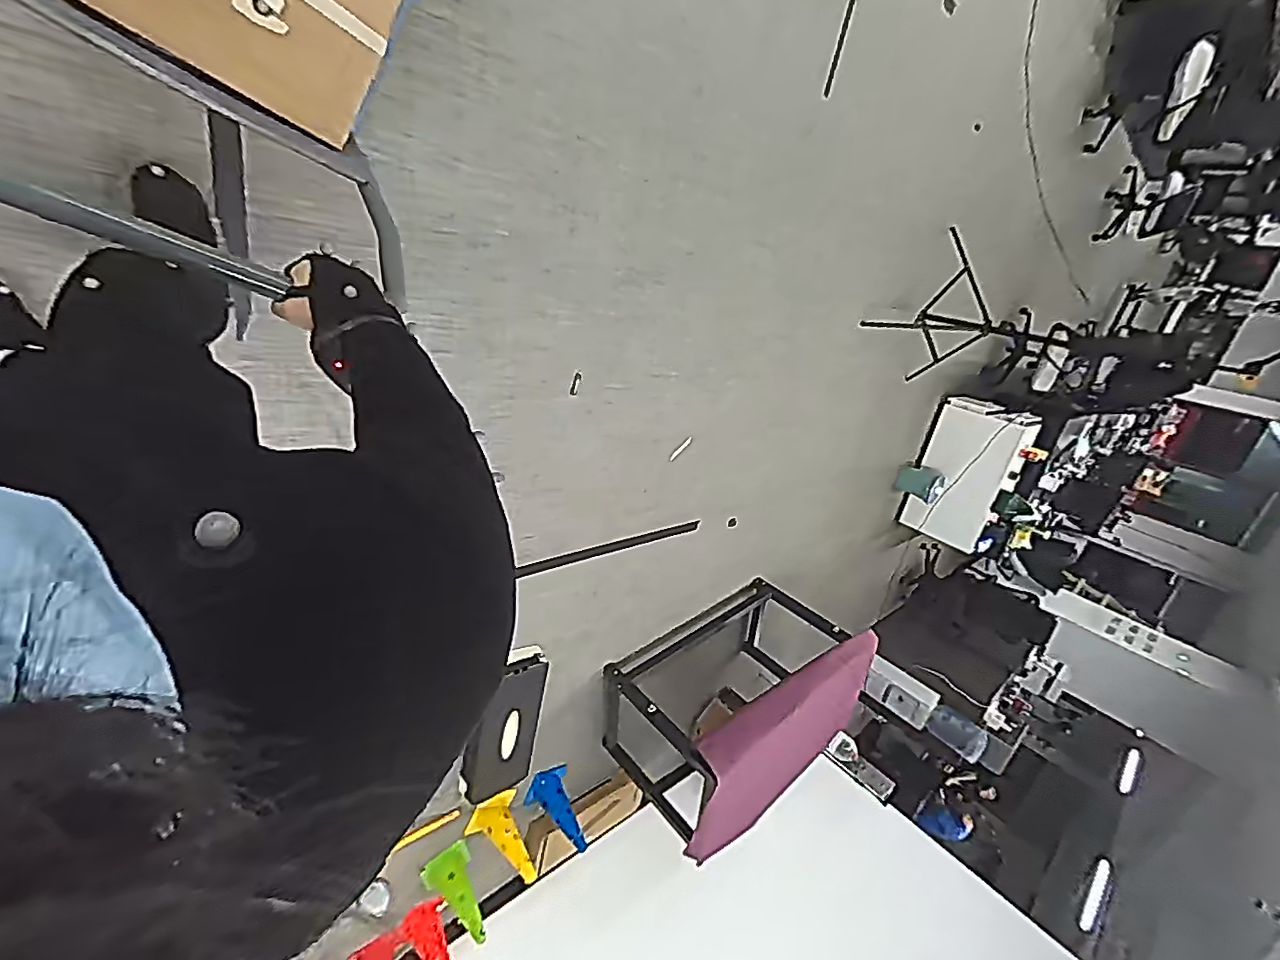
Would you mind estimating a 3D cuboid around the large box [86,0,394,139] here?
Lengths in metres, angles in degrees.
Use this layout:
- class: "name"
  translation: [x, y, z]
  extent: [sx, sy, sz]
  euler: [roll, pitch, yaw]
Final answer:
- class: "large box"
  translation: [-0.582, -0.759, 0.714]
  extent: [0.408, 0.320, 0.320]
  euler: [14, 123, -49]
